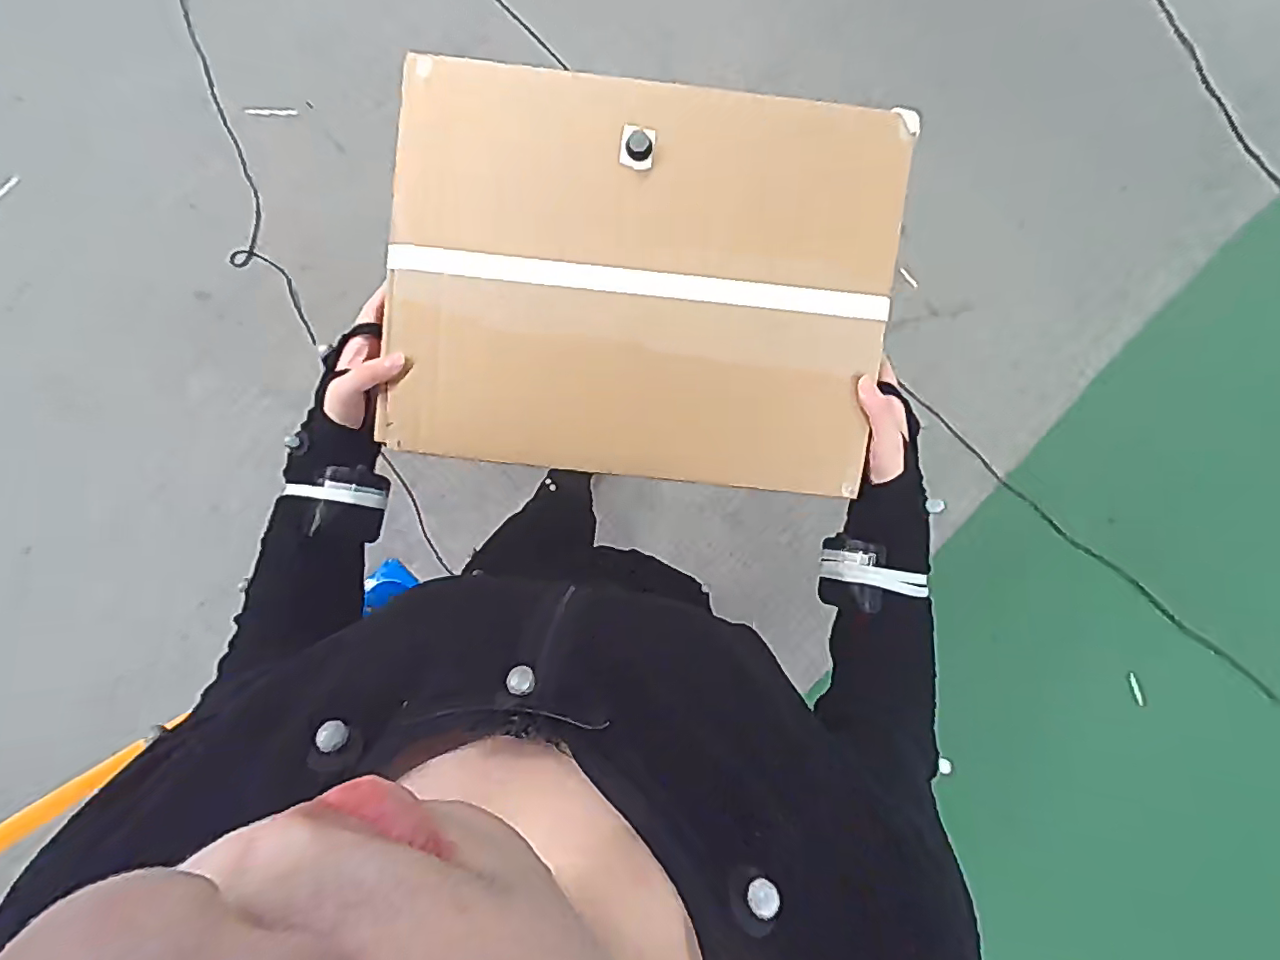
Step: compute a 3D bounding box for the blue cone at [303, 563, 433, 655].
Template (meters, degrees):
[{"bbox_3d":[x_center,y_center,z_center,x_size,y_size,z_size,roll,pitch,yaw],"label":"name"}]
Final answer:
[{"bbox_3d":[-0.656,0.336,1.264,0.192,0.380,0.193,43,87,0],"label":"blue cone"}]
